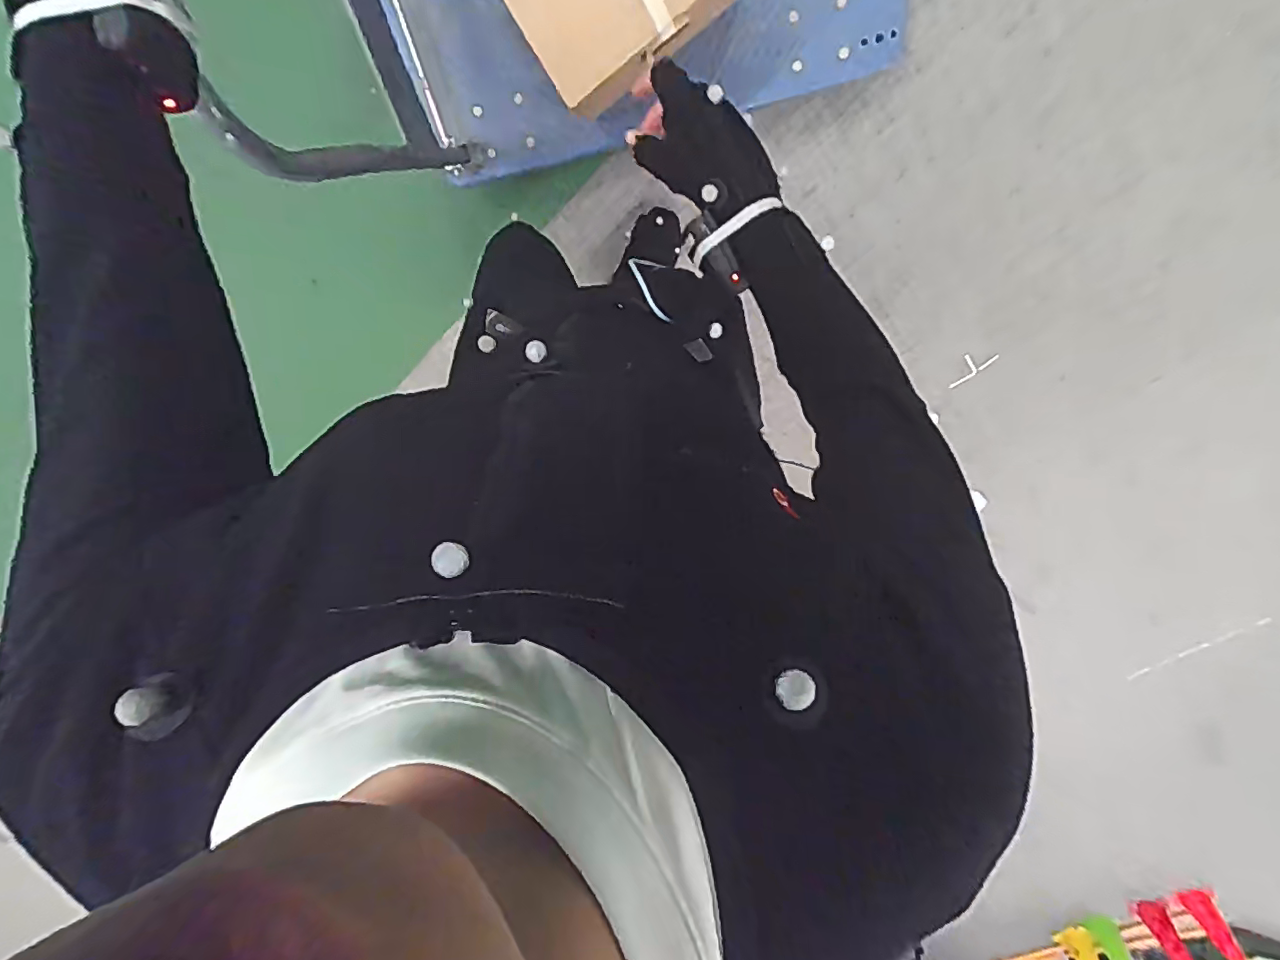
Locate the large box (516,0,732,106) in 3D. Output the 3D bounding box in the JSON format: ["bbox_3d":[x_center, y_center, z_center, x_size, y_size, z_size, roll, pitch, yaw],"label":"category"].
[{"bbox_3d":[-0.060,-0.813,0.736,0.320,0.320,0.408,-28,116,18],"label":"large box"}]
